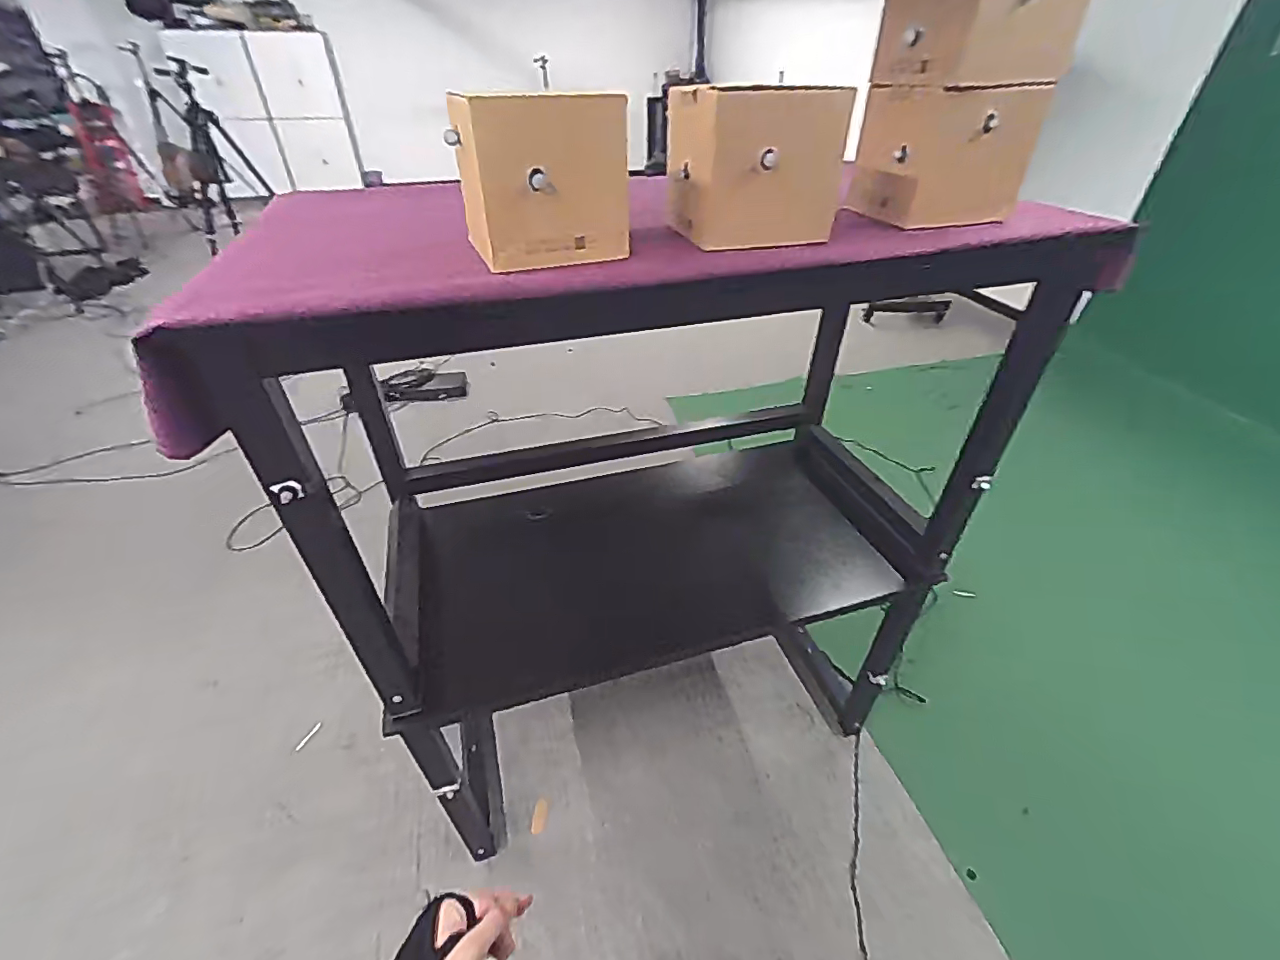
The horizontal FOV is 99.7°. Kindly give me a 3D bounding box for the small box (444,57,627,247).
[{"bbox_3d":[-0.116,-0.373,0.618,0.168,0.176,0.179,-13,40,-17],"label":"small box"}]

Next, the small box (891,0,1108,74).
[{"bbox_3d":[0.440,-0.598,0.650,0.179,0.176,0.168,-13,41,-14],"label":"small box"}]

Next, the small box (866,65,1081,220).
[{"bbox_3d":[0.440,-0.472,0.754,0.179,0.176,0.168,-7,40,-10],"label":"small box"}]

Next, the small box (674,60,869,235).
[{"bbox_3d":[0.147,-0.415,0.675,0.179,0.176,0.168,-9,40,-11],"label":"small box"}]
